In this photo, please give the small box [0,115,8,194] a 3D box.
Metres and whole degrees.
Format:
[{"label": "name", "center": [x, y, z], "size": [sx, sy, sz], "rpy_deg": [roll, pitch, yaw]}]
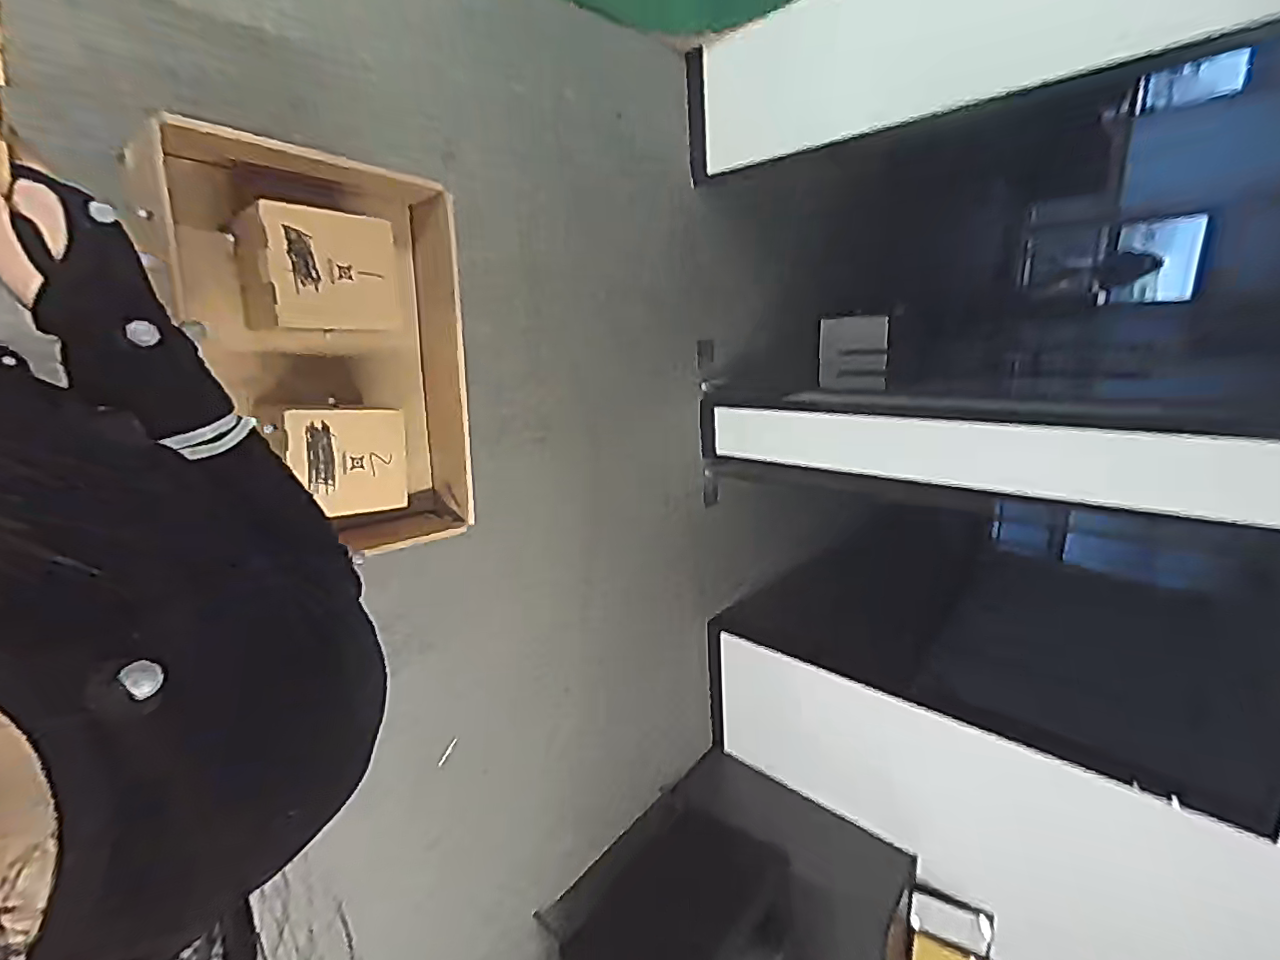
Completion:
[{"label": "small box", "center": [-0.472, -0.246, 0.271], "size": [0.179, 0.176, 0.168], "rpy_deg": [-12, 111, -55]}]
